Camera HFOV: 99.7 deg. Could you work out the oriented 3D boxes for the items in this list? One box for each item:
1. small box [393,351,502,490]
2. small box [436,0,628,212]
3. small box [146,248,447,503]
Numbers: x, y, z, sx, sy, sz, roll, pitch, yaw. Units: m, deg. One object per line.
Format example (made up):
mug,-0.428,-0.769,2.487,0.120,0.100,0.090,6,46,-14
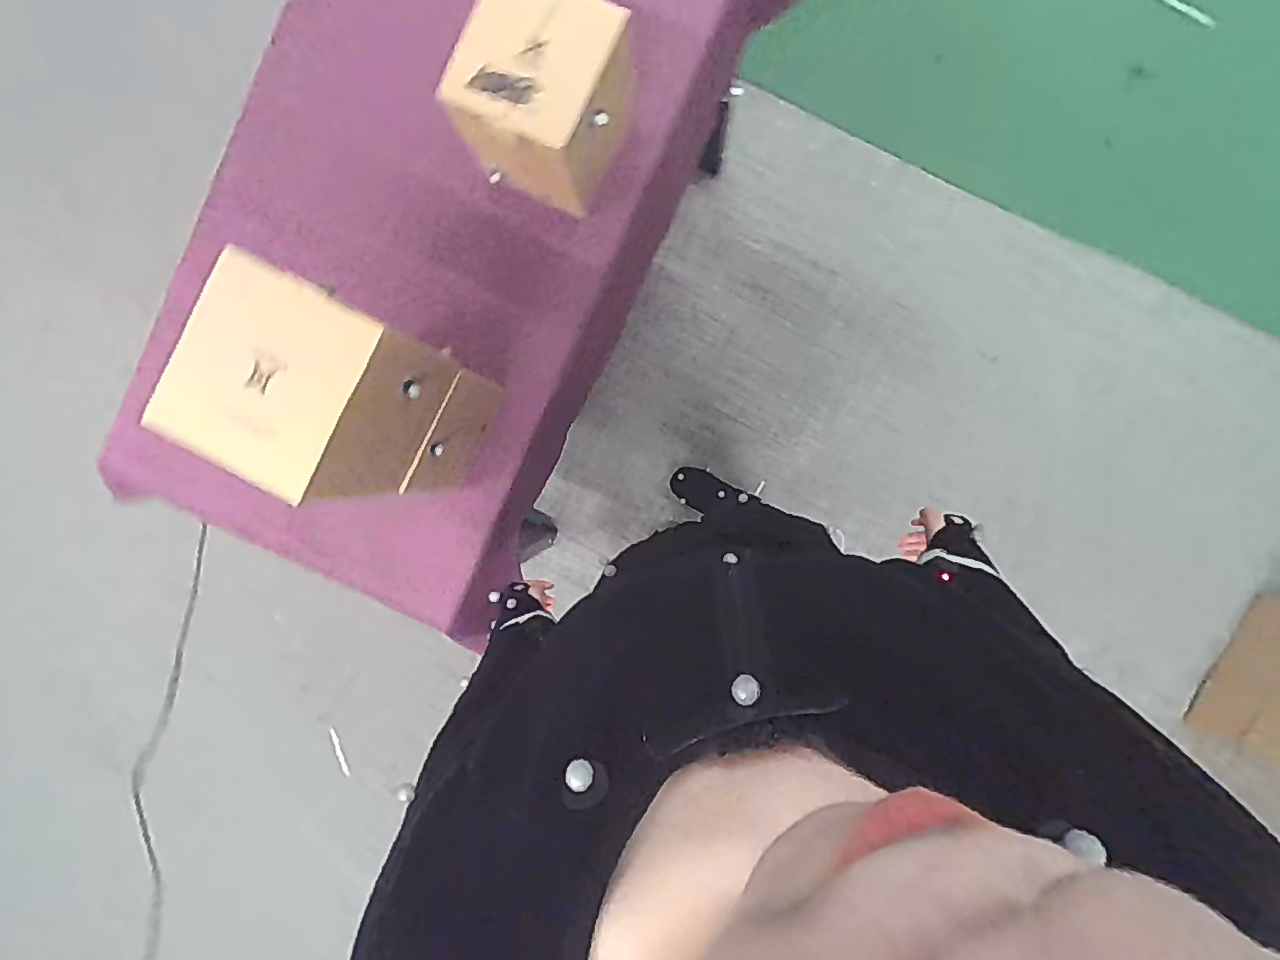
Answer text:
small box,-0.316,-0.096,0.719,0.179,0.176,0.168,27,93,4
small box,-0.124,-0.487,0.699,0.168,0.176,0.179,26,92,3
small box,-0.327,-0.094,0.555,0.168,0.176,0.179,28,93,4
